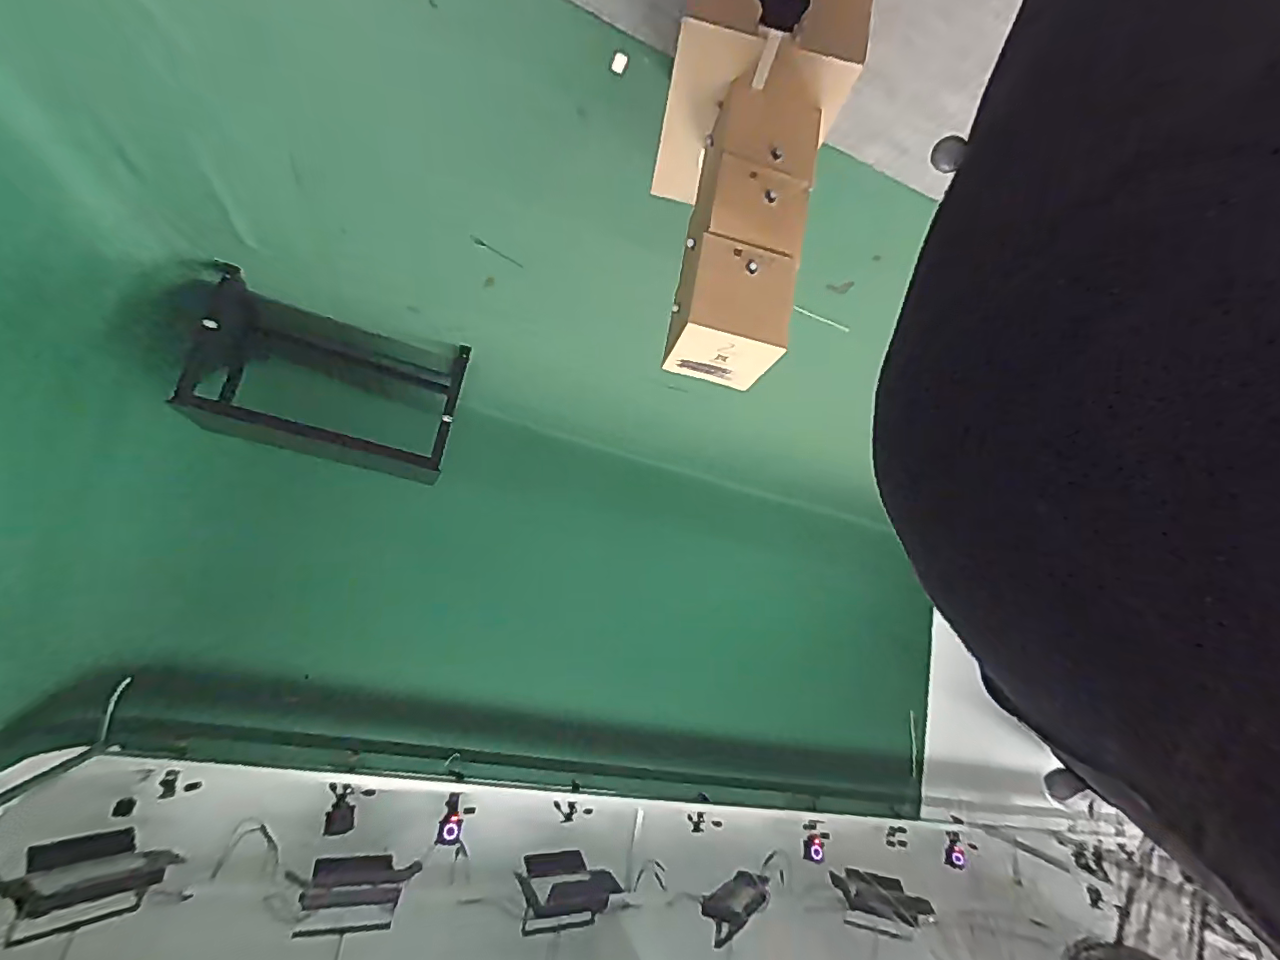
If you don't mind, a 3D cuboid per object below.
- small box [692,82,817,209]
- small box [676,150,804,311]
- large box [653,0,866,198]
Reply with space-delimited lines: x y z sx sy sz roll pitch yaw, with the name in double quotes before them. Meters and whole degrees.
"small box" 0.212 -0.591 1.010 0.179 0.176 0.168 12 166 -9
"small box" 0.178 -0.438 0.968 0.168 0.176 0.179 13 166 -11
"large box" 0.222 -0.828 1.088 0.320 0.320 0.408 12 168 -4
